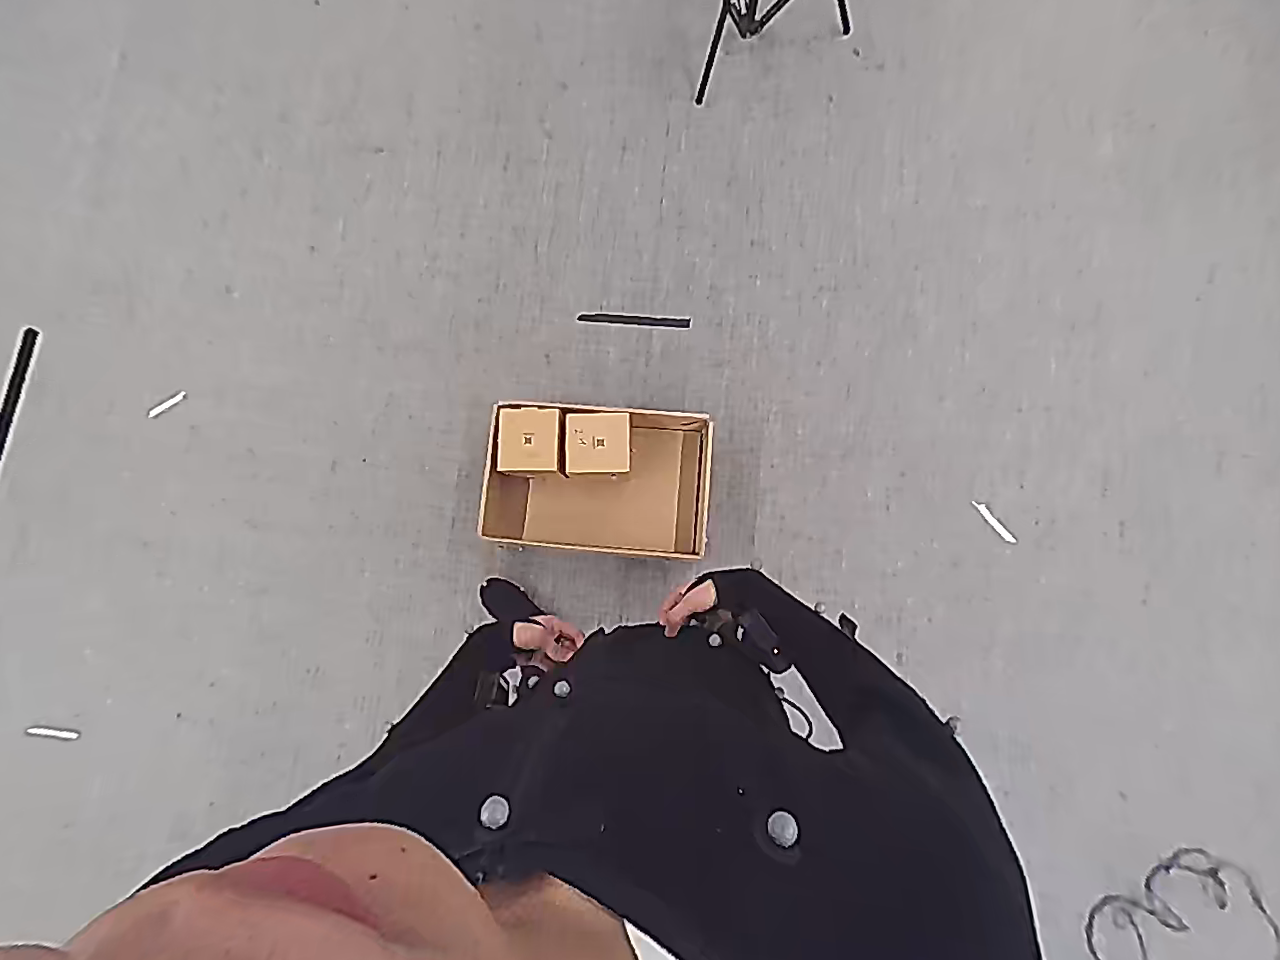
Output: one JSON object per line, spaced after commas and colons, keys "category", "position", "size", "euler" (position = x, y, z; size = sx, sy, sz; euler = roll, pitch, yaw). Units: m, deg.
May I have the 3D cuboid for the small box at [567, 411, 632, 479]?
{"category": "small box", "position": [-0.109, -0.096, 1.533], "size": [0.179, 0.176, 0.168], "euler": [-1, 82, 1]}
